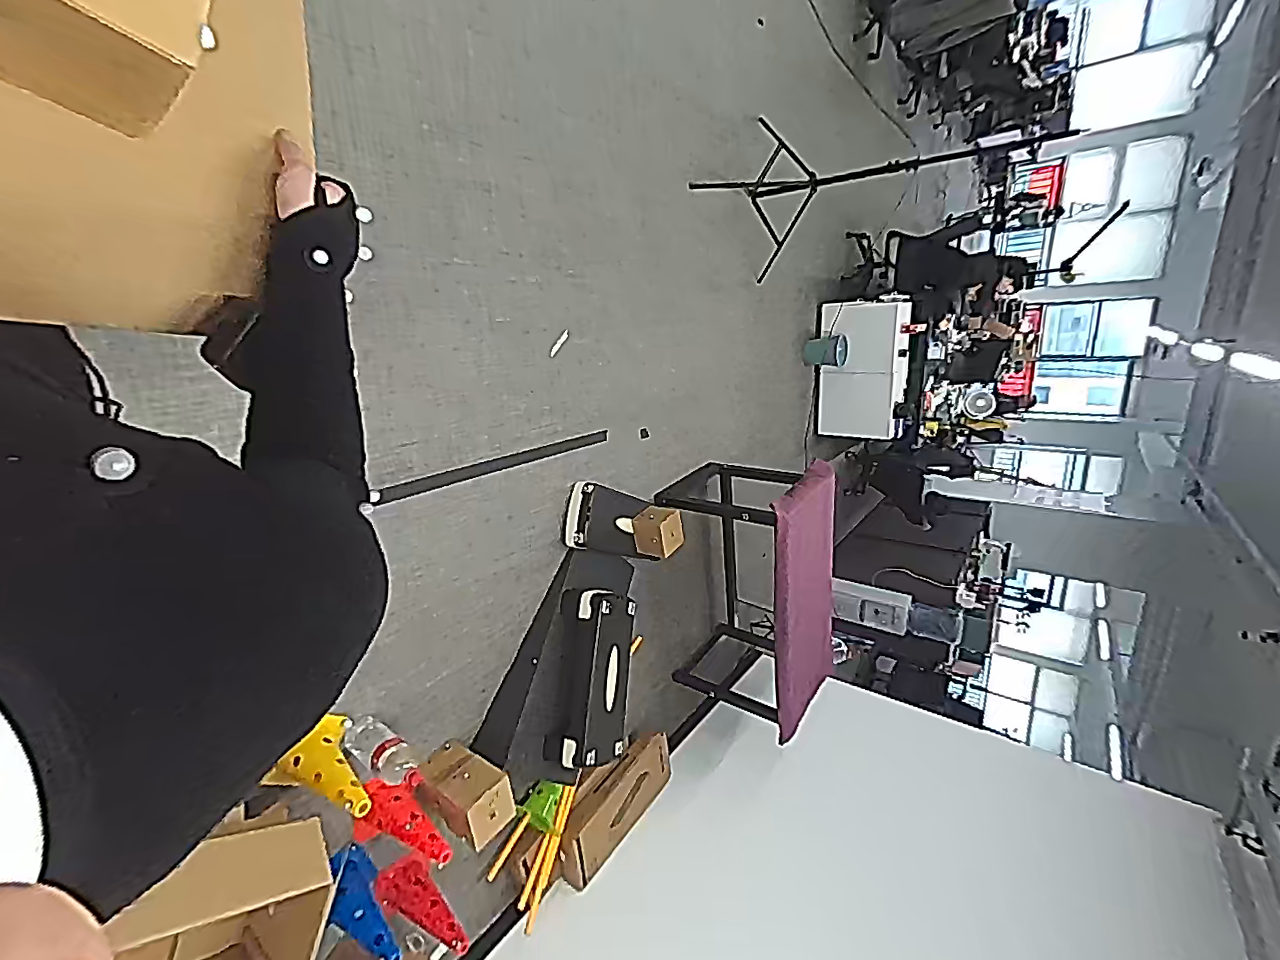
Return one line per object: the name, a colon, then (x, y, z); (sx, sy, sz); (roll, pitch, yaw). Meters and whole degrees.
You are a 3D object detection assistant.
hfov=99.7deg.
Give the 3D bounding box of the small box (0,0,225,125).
small box: (-0.384, -0.361, 0.338); (0.179, 0.176, 0.168); (9, 90, -50)
